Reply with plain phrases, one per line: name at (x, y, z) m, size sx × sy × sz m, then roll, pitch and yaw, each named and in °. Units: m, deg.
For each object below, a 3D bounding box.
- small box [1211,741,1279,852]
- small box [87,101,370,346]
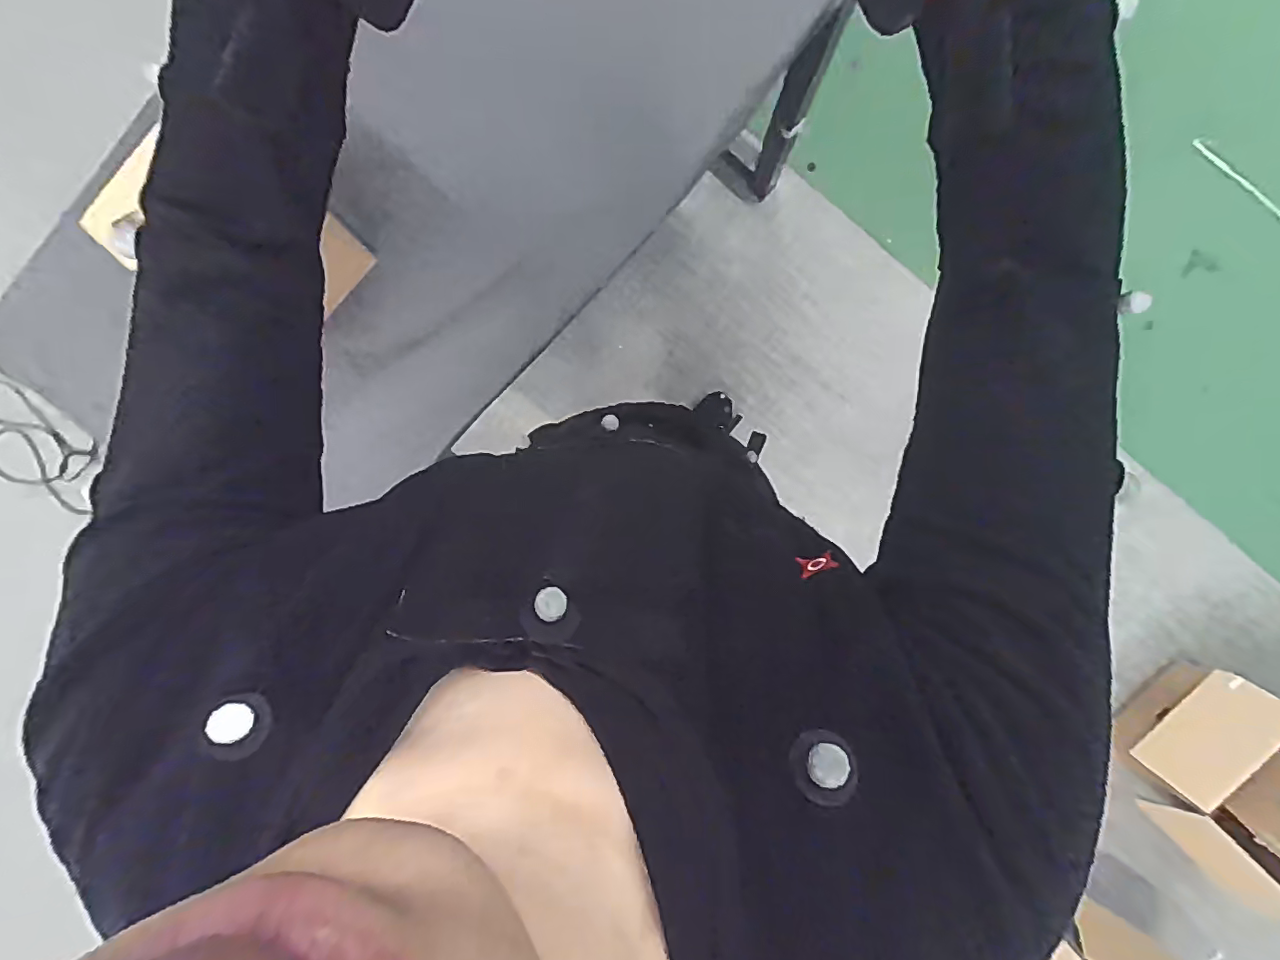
small box at (1.463, 0.739, 1.216) m, size 0.168 × 0.176 × 0.179 m, roll 44°, pitch 96°, yaw -2°
small box at (-0.473, -0.286, 0.652) m, size 0.168 × 0.176 × 0.179 m, roll 45°, pitch 94°, yaw -2°
